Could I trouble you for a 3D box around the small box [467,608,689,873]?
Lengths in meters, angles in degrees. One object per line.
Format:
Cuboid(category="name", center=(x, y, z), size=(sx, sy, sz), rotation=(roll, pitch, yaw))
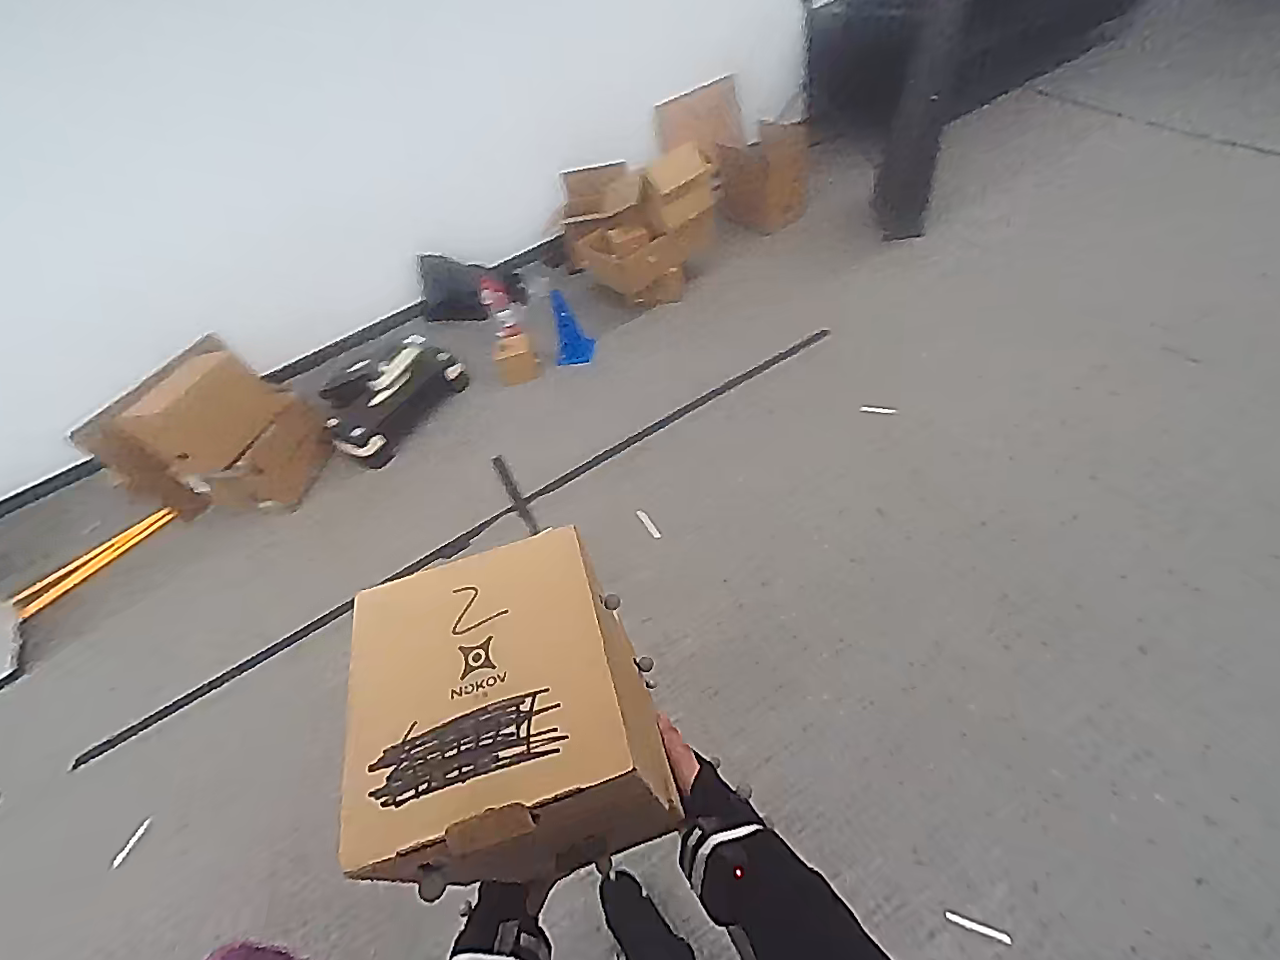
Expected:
Cuboid(category="small box", center=(-0.057, 0.259, 0.534), size=(0.168, 0.176, 0.179), rotation=(-17, 52, -3))
